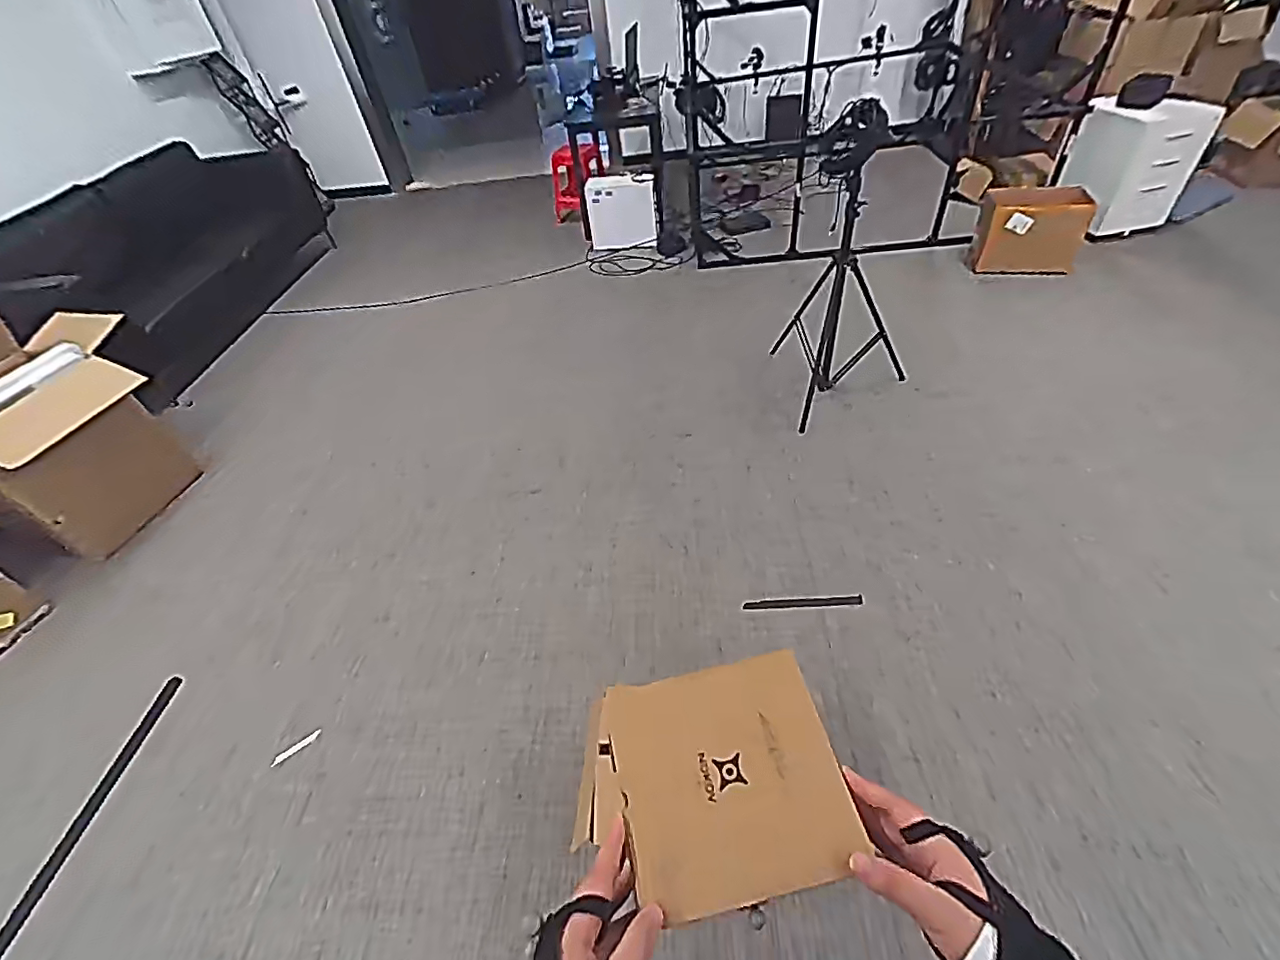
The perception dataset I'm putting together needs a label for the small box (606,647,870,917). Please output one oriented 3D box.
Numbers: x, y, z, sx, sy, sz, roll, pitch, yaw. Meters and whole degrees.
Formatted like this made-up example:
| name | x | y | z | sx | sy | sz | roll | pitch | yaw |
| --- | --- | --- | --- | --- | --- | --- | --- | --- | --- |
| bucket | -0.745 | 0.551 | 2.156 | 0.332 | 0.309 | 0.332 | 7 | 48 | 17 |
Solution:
| name | x | y | z | sx | sy | sz | roll | pitch | yaw |
| --- | --- | --- | --- | --- | --- | --- | --- | --- | --- |
| small box | 0.080 | 0.283 | 0.502 | 0.179 | 0.176 | 0.168 | -14 | 52 | -3 |
